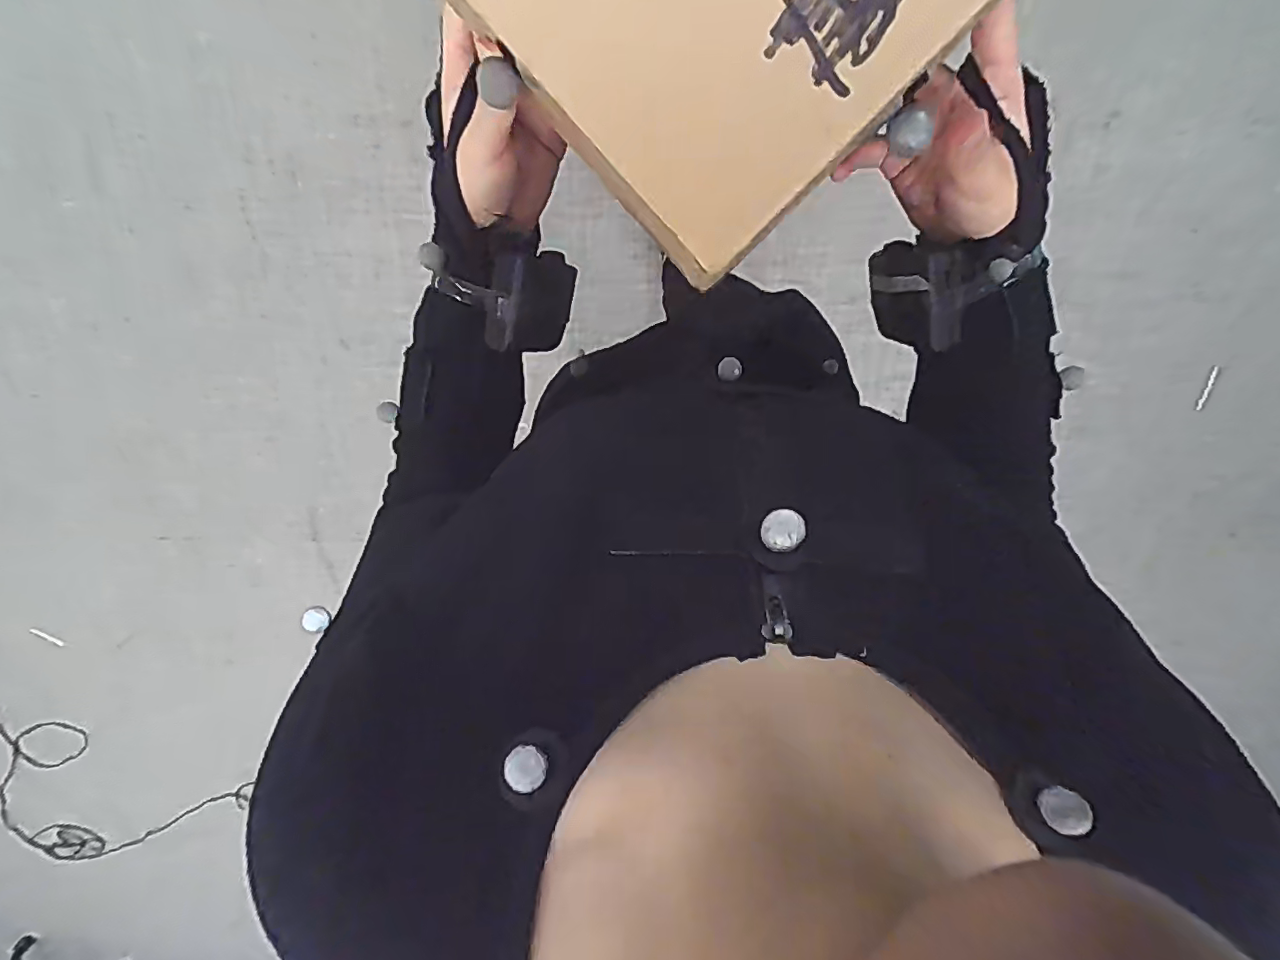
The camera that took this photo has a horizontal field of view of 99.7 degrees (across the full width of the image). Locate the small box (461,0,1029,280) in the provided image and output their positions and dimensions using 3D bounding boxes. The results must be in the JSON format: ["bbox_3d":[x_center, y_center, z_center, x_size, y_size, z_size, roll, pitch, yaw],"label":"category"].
[{"bbox_3d":[0.033,-0.192,0.193,0.168,0.176,0.179,-43,98,17],"label":"small box"}]
